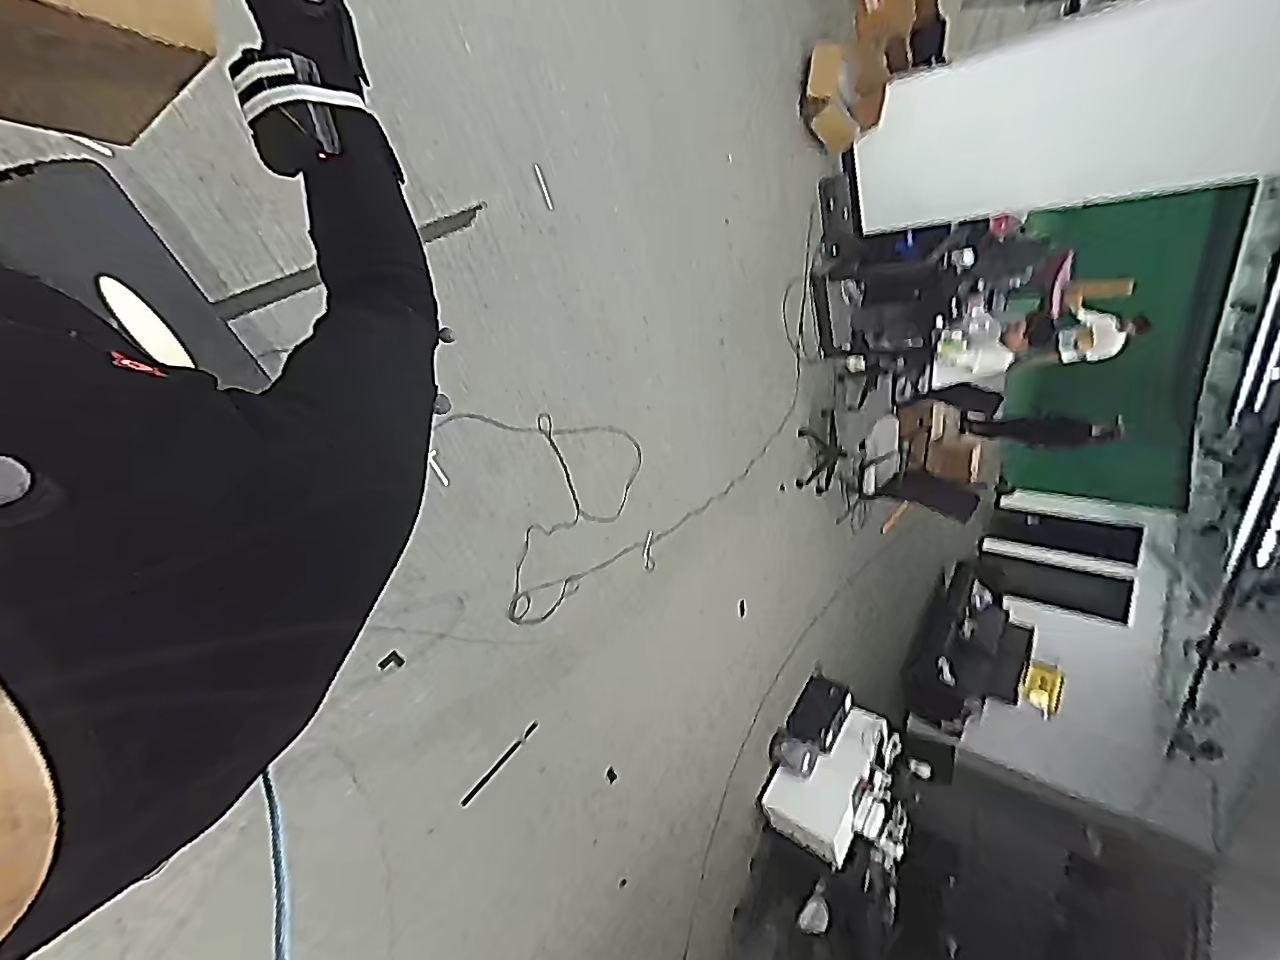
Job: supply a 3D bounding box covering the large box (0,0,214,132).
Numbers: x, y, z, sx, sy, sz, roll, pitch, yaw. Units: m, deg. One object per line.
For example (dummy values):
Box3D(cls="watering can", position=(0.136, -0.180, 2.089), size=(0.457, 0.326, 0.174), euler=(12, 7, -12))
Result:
Box3D(cls="large box", position=(-0.517, -0.426, 0.261), size=(0.408, 0.320, 0.320), euler=(-14, 113, -49))
